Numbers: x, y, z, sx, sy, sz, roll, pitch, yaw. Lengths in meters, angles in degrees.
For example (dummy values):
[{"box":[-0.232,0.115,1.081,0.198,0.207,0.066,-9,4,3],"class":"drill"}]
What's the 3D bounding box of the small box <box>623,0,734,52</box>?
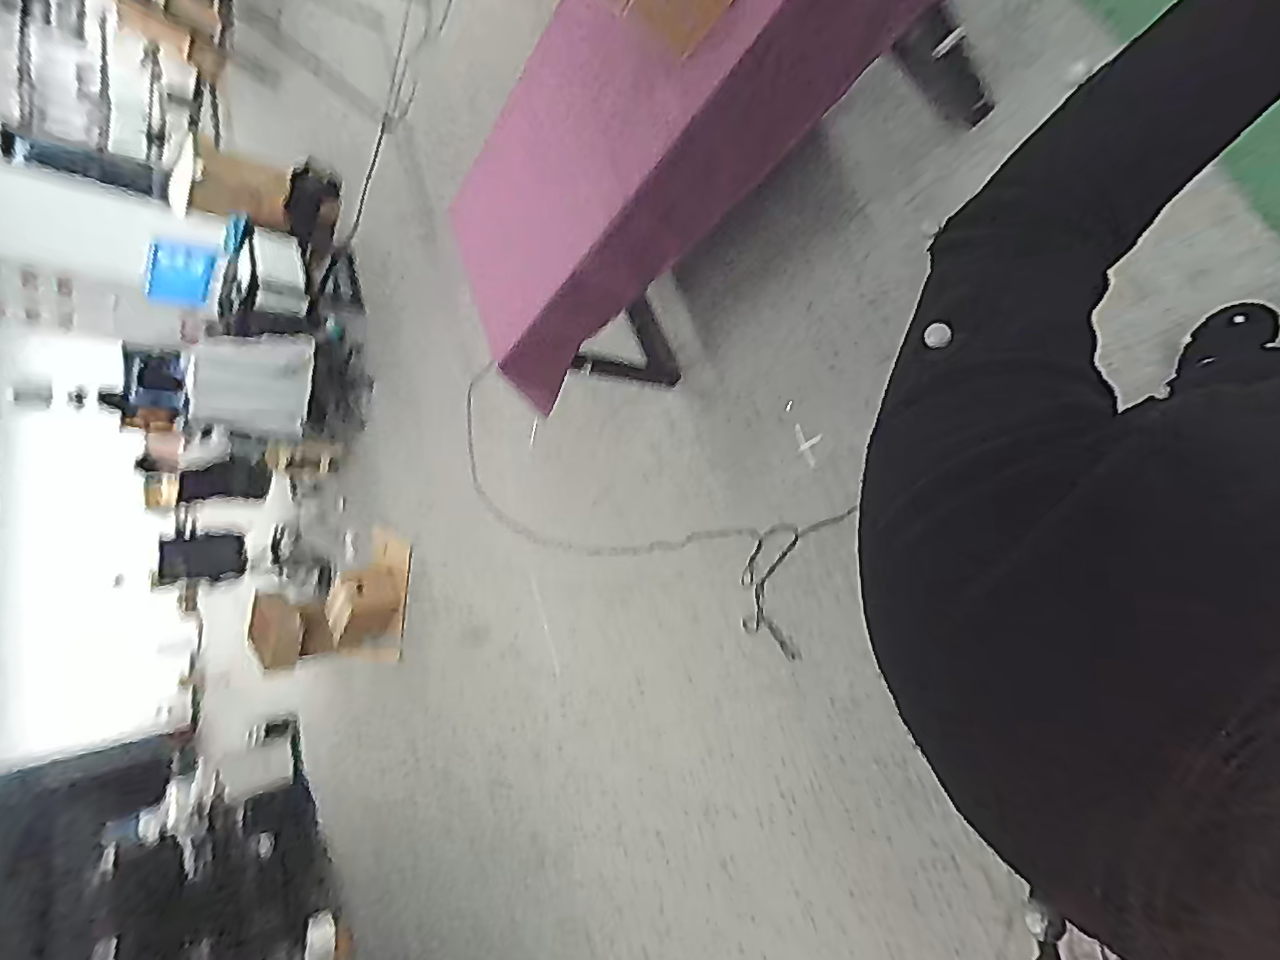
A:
[{"box":[0.068,-0.914,0.944,0.179,0.176,0.168,-29,72,40],"class":"small box"}]
